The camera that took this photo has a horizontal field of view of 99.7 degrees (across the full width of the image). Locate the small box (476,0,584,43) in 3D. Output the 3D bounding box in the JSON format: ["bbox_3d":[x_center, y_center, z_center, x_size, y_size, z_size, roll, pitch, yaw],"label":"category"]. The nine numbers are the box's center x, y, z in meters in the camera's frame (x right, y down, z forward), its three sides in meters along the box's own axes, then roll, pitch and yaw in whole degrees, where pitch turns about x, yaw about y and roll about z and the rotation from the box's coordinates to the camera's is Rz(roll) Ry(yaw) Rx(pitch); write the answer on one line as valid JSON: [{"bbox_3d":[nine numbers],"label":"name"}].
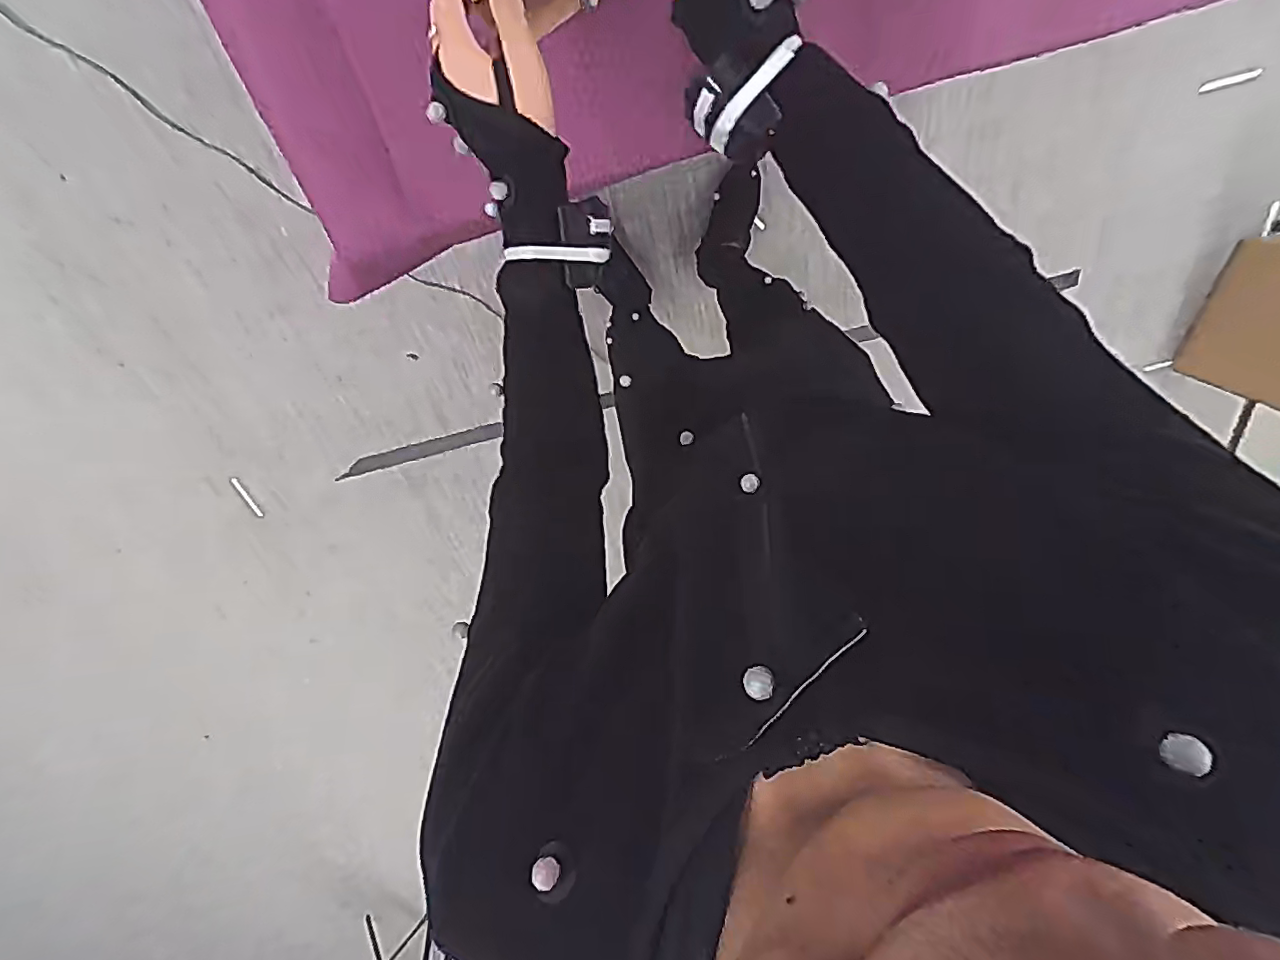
[{"bbox_3d":[-0.083,-0.453,0.368,0.168,0.176,0.179,-27,117,9],"label":"small box"}]
